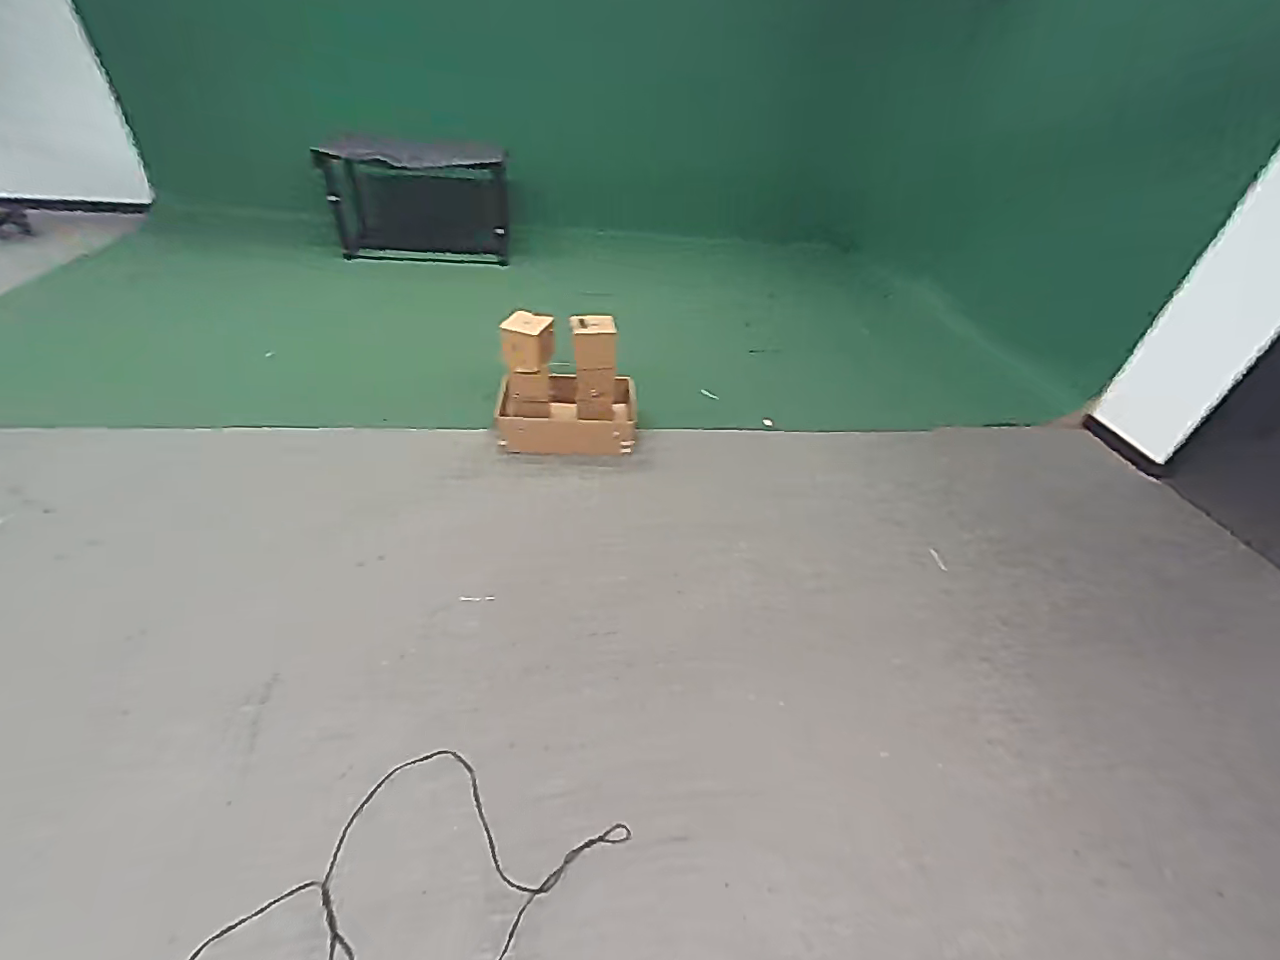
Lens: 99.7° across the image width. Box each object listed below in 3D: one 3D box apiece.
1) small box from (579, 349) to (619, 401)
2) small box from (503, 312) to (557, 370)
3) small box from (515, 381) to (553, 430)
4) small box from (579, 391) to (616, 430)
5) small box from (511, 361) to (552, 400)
[{"bbox_3d":[-0.189,-0.477,2.451,0.168,0.176,0.179,-4,43,-9],"label":"small box"},{"bbox_3d":[-0.459,-0.585,2.284,0.168,0.176,0.179,16,40,9],"label":"small box"},{"bbox_3d":[-0.488,-0.349,2.509,0.168,0.176,0.179,0,41,-8],"label":"small box"},{"bbox_3d":[-0.200,-0.355,2.559,0.168,0.176,0.179,3,41,-3],"label":"small box"},{"bbox_3d":[-0.477,-0.467,2.394,0.168,0.176,0.179,1,40,-8],"label":"small box"}]
